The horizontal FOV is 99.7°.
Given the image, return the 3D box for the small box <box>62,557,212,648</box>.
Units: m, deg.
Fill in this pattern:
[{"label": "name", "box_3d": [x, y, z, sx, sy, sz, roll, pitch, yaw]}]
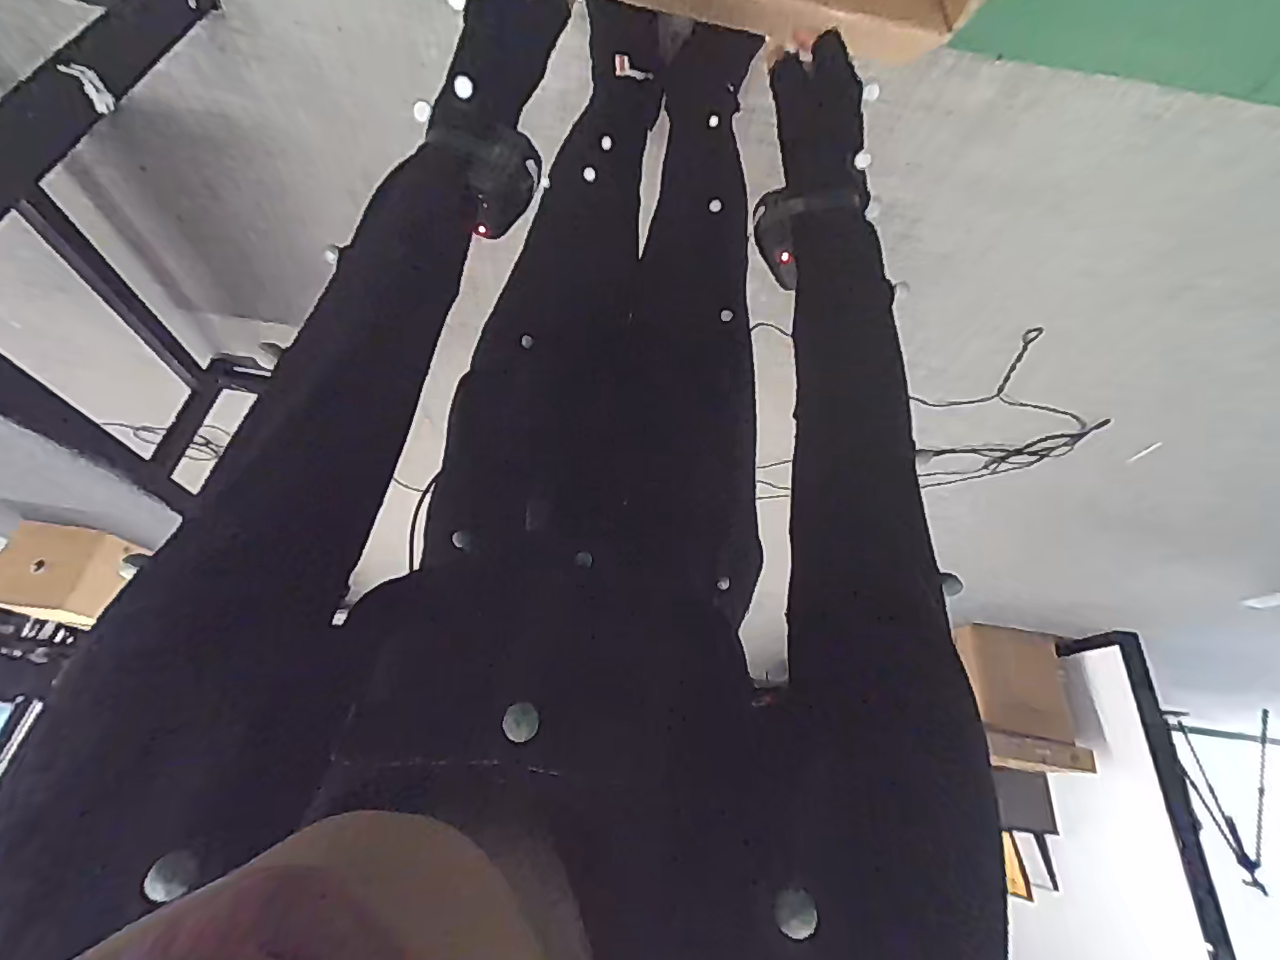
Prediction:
[{"label": "small box", "box_3d": [-1.206, 0.297, 1.314, 0.179, 0.176, 0.168, 9, 152, -3]}]
